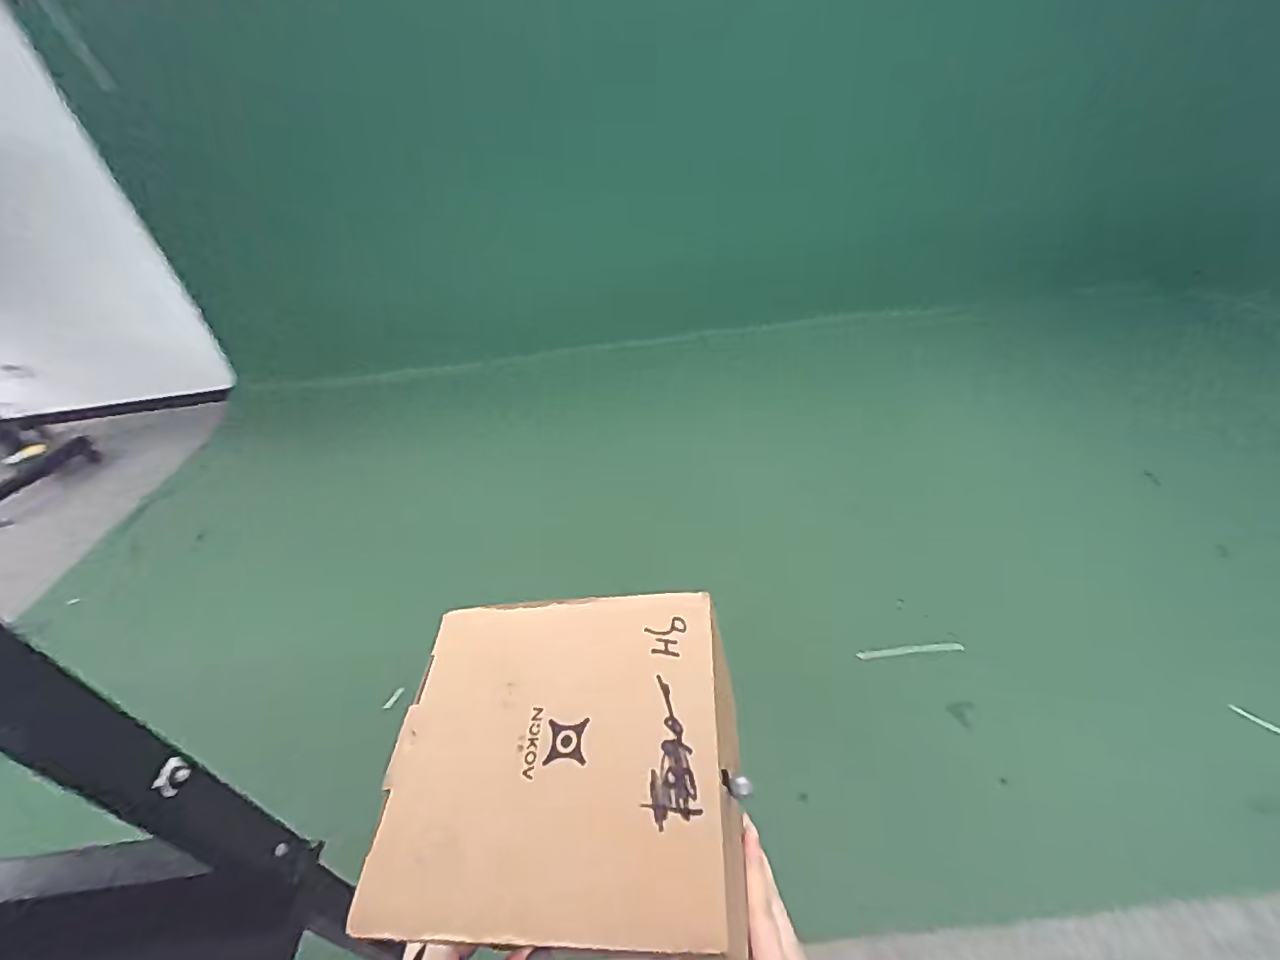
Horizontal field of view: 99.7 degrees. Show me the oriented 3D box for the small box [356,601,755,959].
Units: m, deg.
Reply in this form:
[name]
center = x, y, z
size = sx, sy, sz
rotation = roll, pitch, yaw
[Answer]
[small box]
center = -0.027, 0.195, 0.343
size = 0.179, 0.176, 0.168
rotation = -6, 47, 11
